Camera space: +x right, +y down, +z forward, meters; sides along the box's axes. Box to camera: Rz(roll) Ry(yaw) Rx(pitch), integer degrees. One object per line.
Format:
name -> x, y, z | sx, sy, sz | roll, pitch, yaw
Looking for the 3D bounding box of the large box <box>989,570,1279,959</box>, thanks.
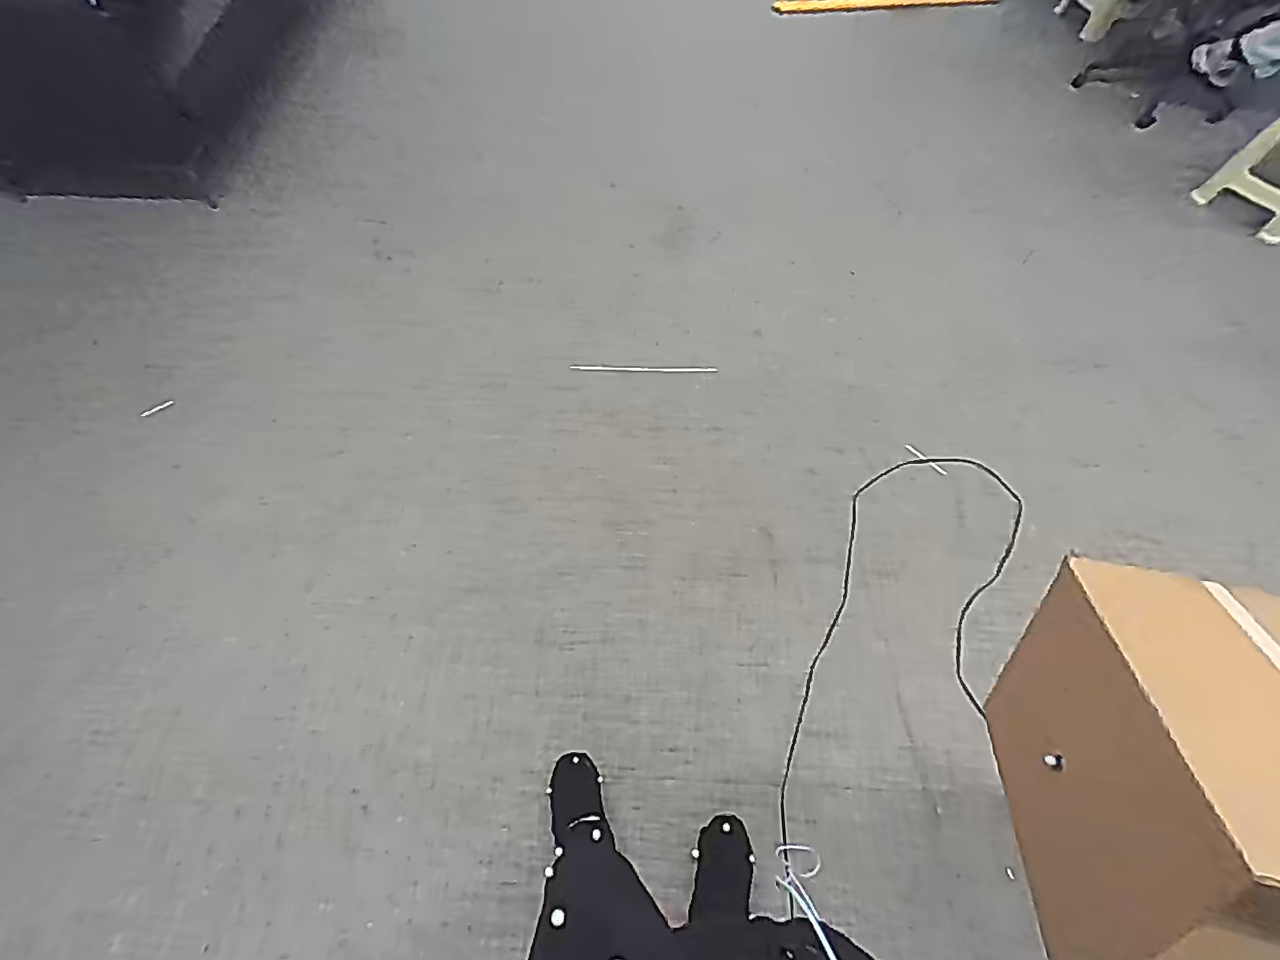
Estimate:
large box -> 0.654, 0.368, 0.607 | 0.320, 0.320, 0.408 | 11, 30, 14
